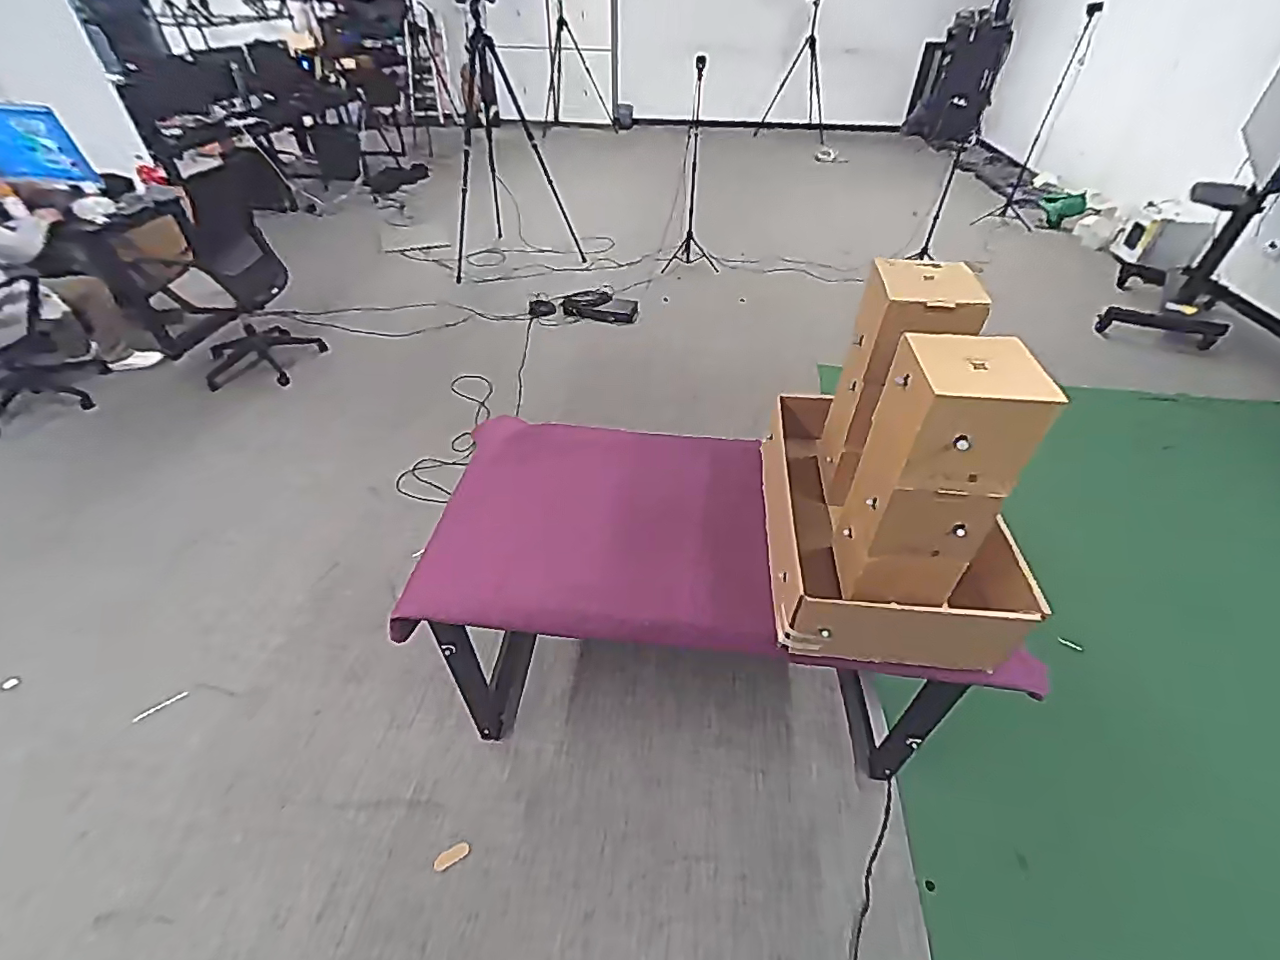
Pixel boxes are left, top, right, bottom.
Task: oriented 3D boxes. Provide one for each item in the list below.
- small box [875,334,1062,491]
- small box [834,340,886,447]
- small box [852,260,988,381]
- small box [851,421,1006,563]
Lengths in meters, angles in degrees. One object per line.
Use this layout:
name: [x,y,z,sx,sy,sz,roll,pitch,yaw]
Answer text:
small box: [0.471,-0.100,0.810,0.168,0.176,0.179,4,42,6]
small box: [0.513,-0.173,1.125,0.168,0.176,0.179,6,44,6]
small box: [0.509,-0.291,1.011,0.168,0.176,0.179,6,45,7]
small box: [0.472,0.021,0.917,0.168,0.176,0.179,5,42,6]
